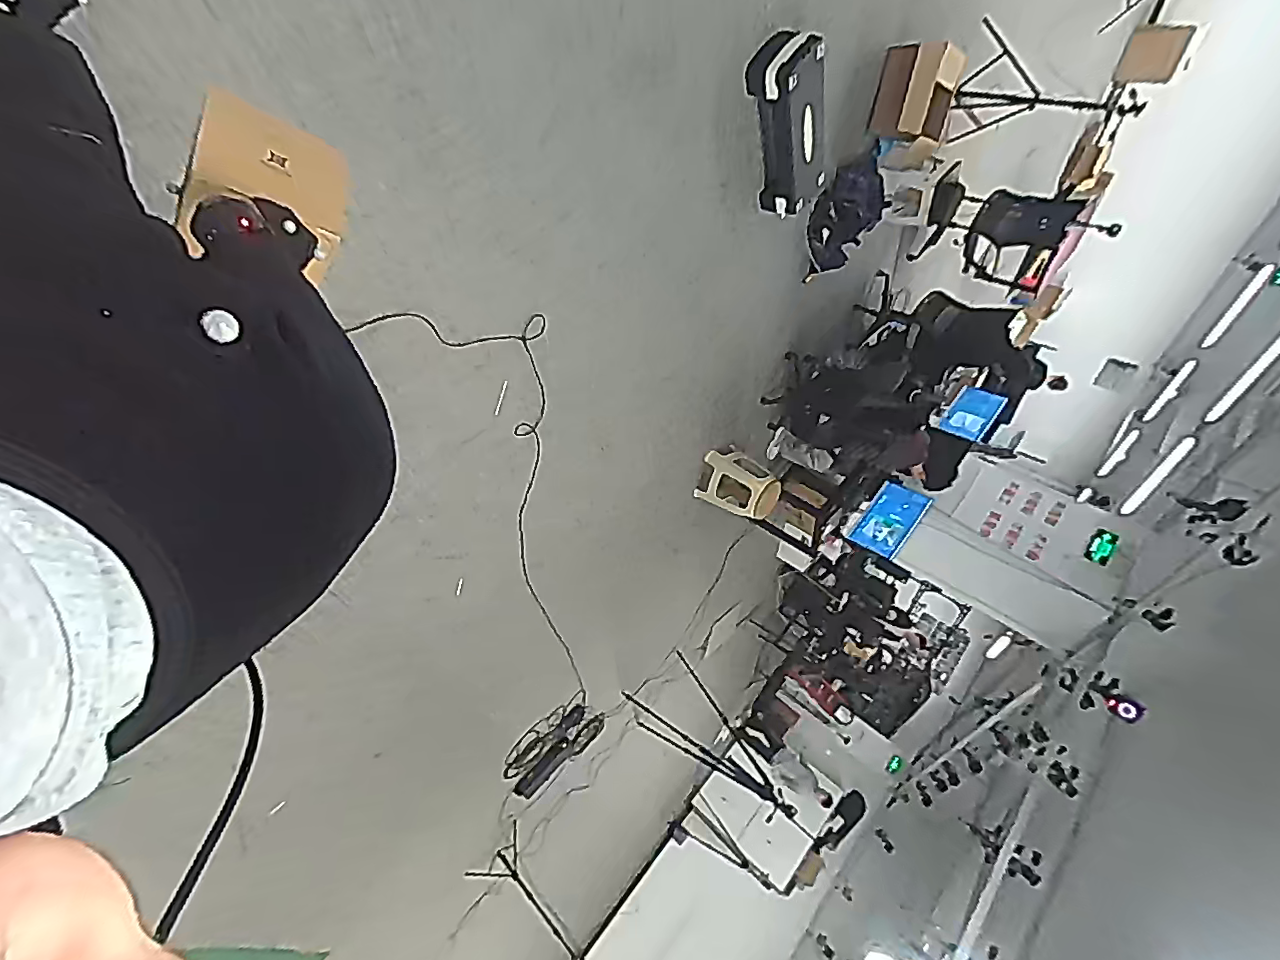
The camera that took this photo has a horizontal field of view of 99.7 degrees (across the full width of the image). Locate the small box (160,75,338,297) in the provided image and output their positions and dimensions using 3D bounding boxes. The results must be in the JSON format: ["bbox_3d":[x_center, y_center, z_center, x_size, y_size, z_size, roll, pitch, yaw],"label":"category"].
[{"bbox_3d":[-0.541,-0.390,0.753,0.176,0.179,0.168,-30,152,35],"label":"small box"}]
